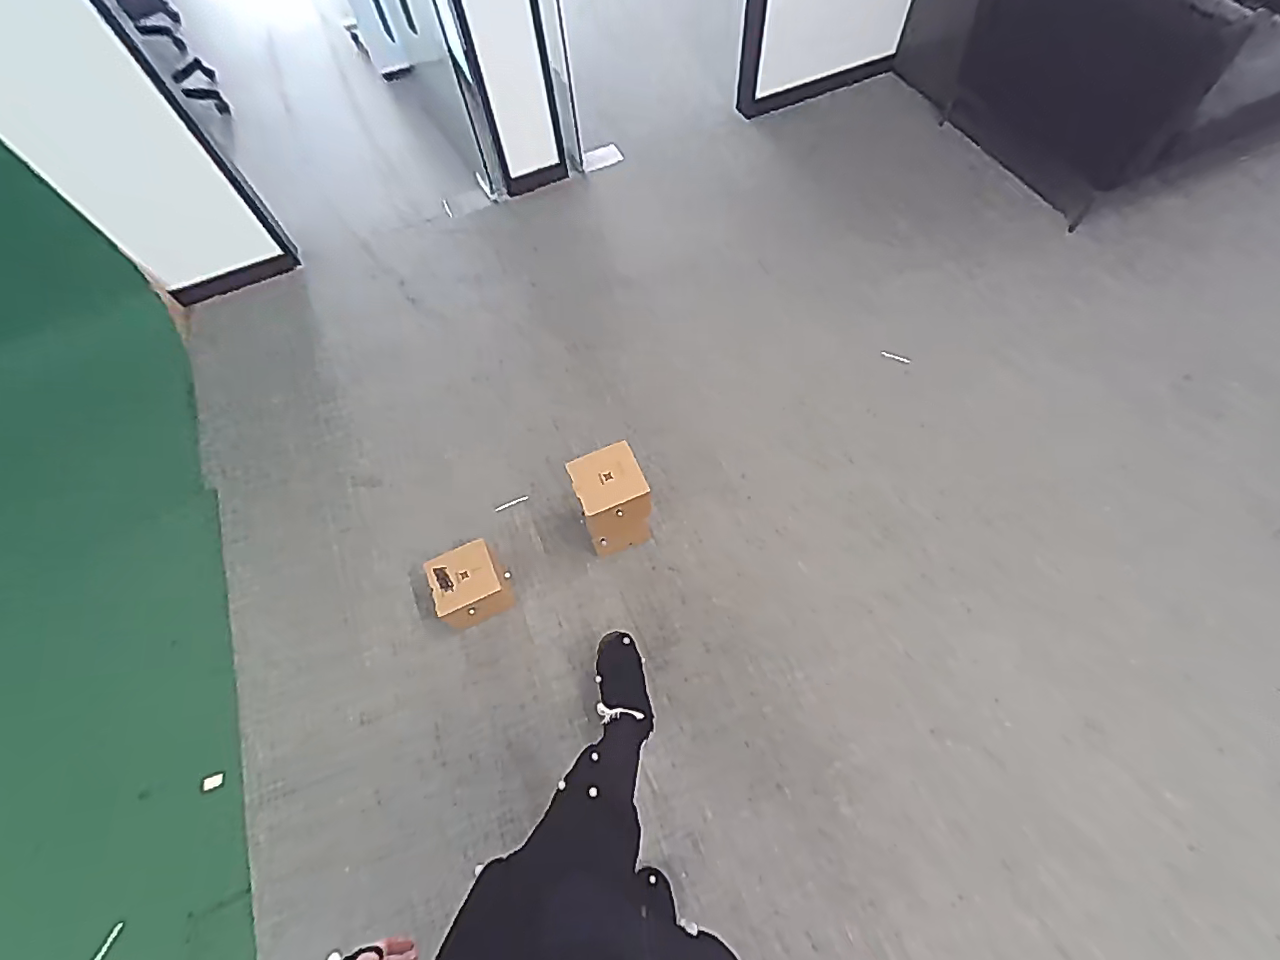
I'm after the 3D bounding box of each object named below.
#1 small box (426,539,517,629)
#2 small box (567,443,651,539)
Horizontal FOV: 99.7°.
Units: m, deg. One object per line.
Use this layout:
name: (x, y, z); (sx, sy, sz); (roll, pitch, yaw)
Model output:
small box: (-0.468, 0.298, 1.517); (0.179, 0.176, 0.168); (-23, 64, -10)
small box: (-0.077, 0.035, 1.447); (0.179, 0.176, 0.168); (-21, 64, -9)
